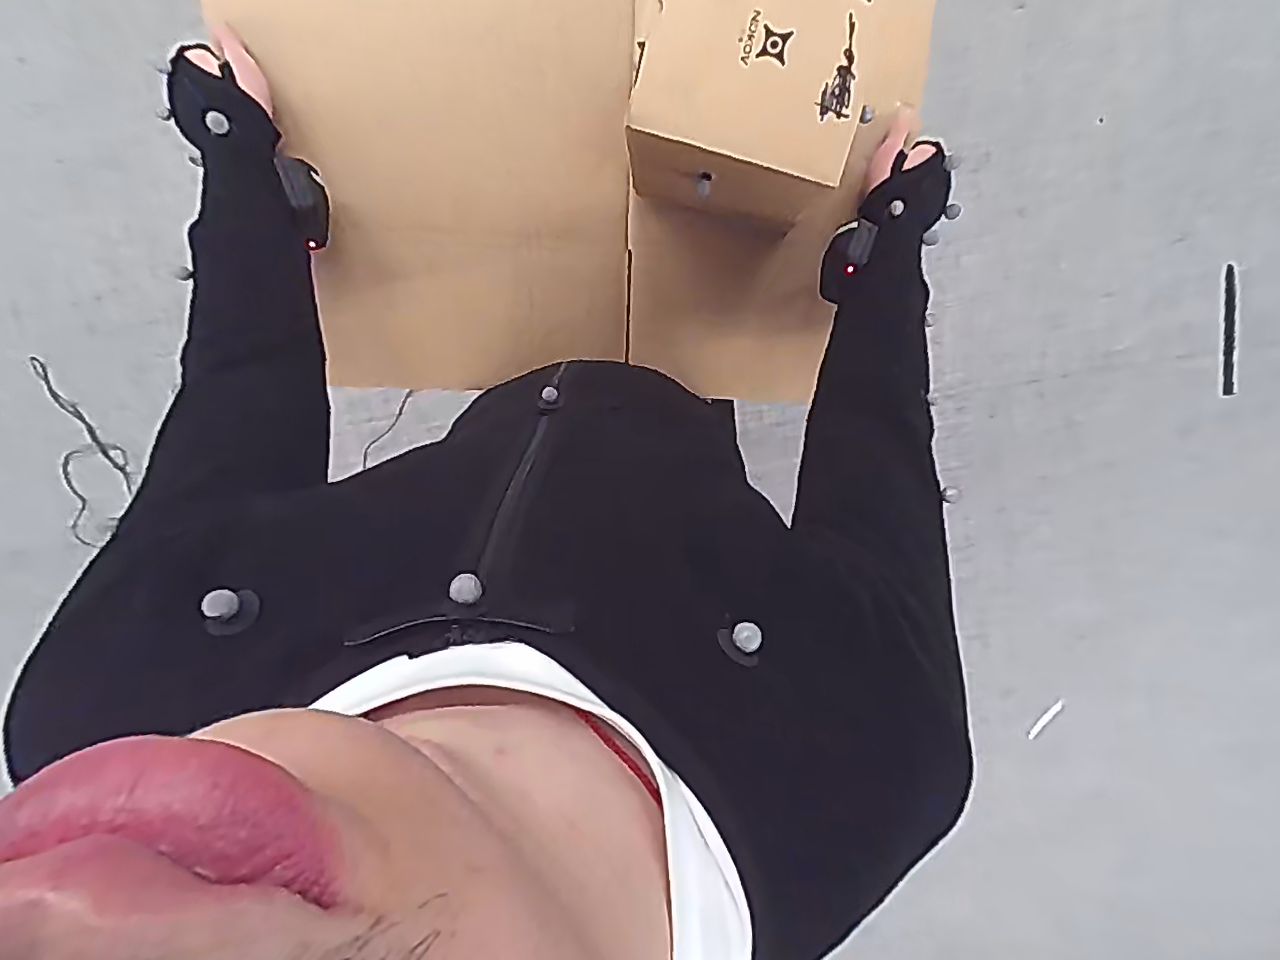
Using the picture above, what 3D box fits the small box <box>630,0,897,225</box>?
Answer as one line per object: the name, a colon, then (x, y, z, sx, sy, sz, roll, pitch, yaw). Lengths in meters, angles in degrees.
small box: (0.100, -0.351, 0.490, 0.179, 0.176, 0.168, 15, 103, -1)
